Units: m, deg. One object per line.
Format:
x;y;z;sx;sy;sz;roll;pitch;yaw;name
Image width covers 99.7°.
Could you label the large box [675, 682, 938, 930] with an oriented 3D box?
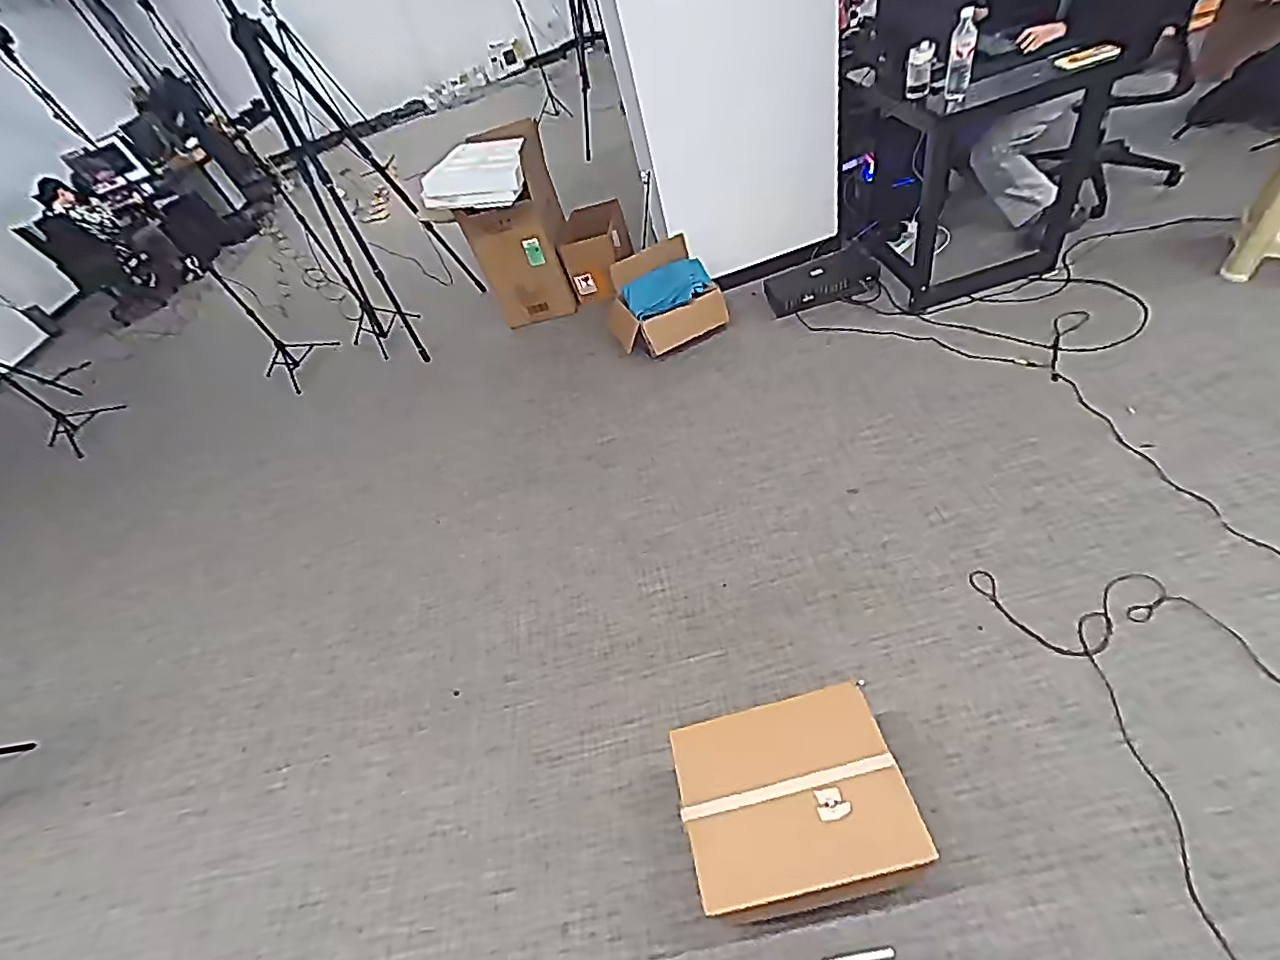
0.323;0.678;1.120;0.408;0.320;0.320;-18;46;4;large box
